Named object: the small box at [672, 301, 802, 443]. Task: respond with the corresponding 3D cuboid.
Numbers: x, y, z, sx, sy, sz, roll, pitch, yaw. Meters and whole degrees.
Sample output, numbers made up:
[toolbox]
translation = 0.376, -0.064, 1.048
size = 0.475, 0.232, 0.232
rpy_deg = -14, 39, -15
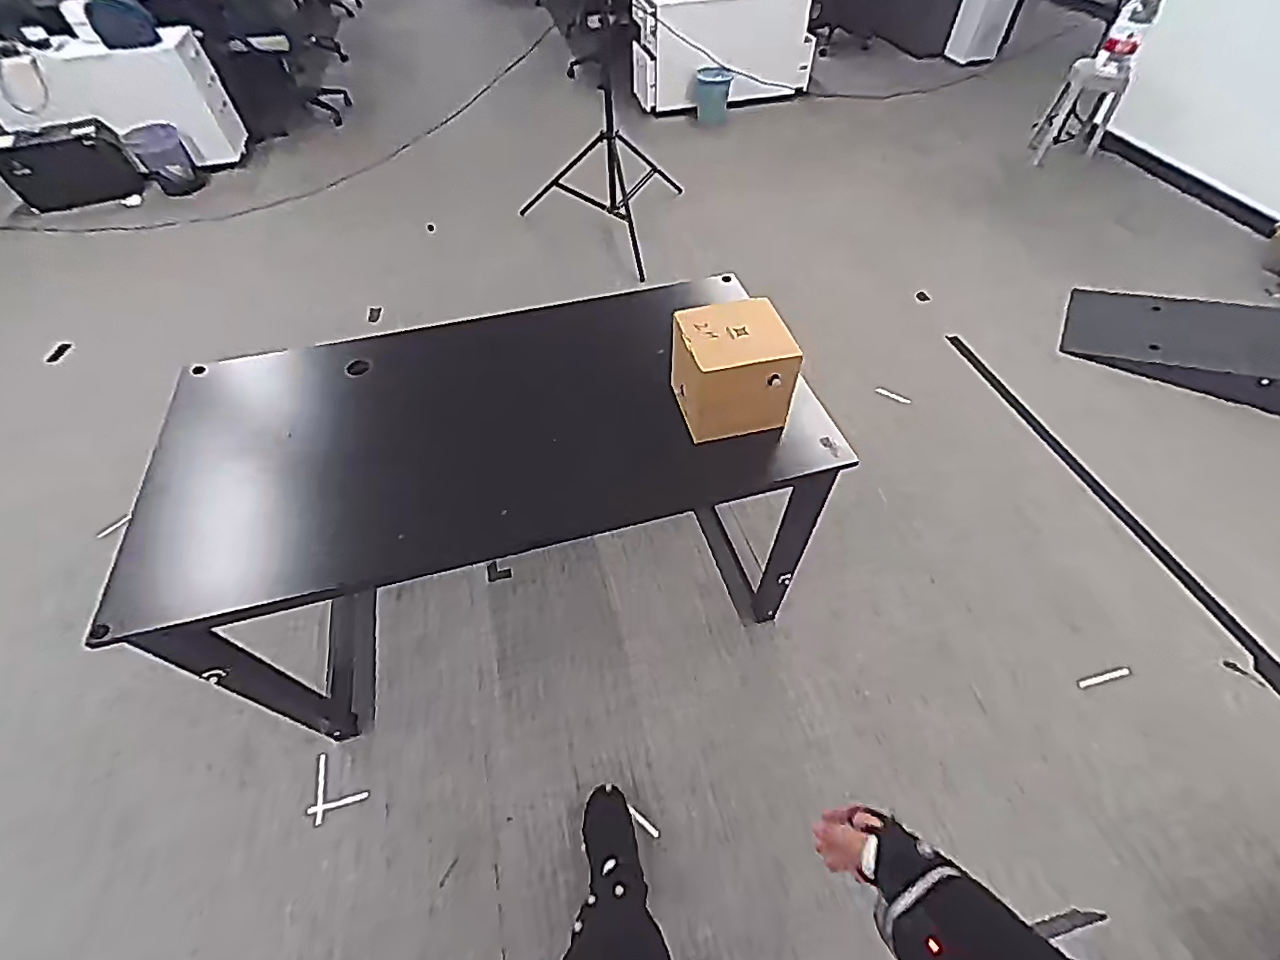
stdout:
[small box]
translation = 0.160, -0.189, 0.963
size = 0.179, 0.176, 0.168
rpy_deg = -12, 52, -7
